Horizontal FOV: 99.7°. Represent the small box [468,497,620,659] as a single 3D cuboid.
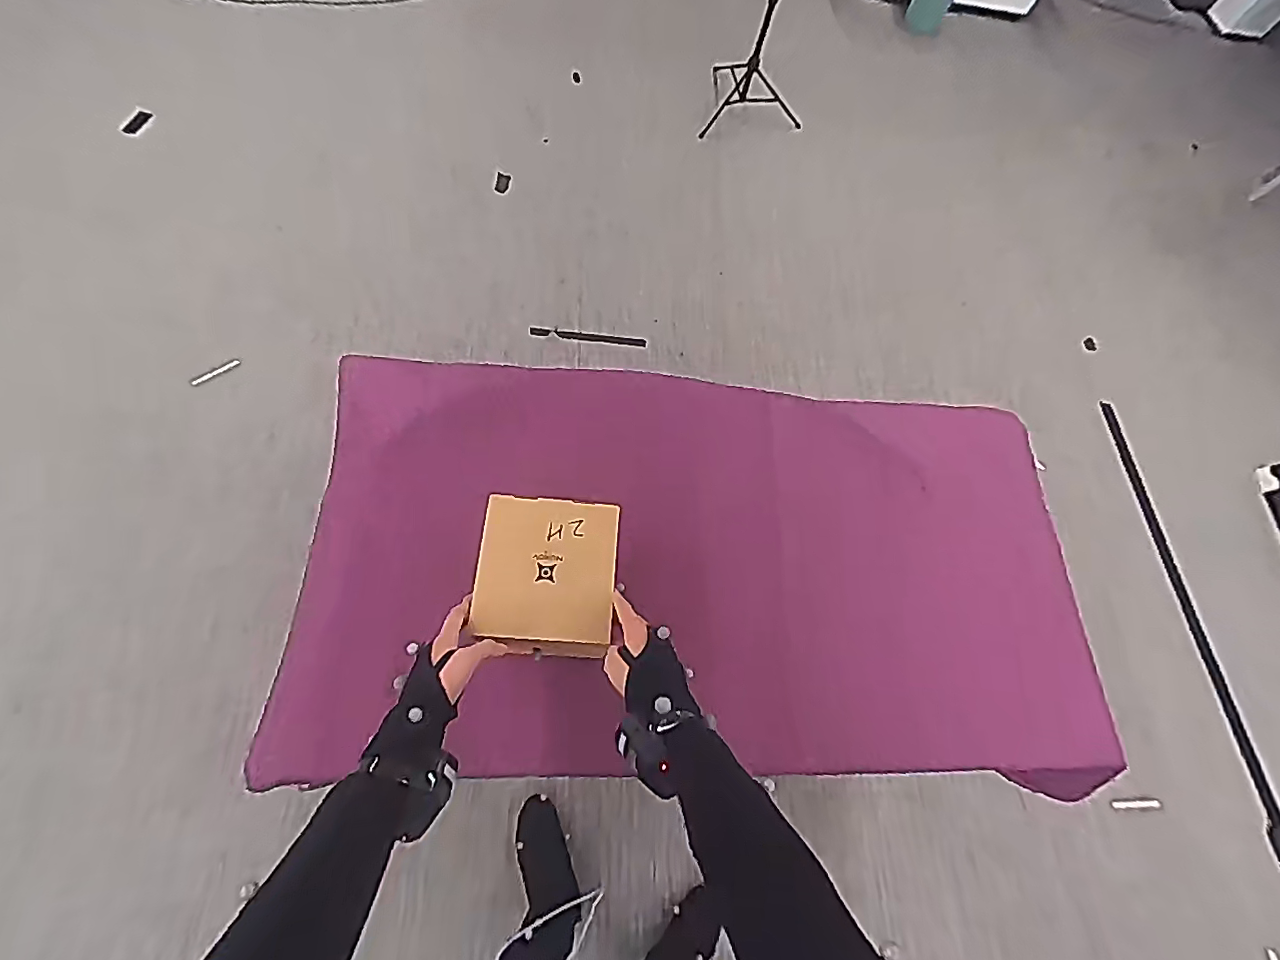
[{"bbox_3d":[-0.120,0.140,0.726,0.168,0.176,0.179,6,66,-6],"label":"small box"}]
